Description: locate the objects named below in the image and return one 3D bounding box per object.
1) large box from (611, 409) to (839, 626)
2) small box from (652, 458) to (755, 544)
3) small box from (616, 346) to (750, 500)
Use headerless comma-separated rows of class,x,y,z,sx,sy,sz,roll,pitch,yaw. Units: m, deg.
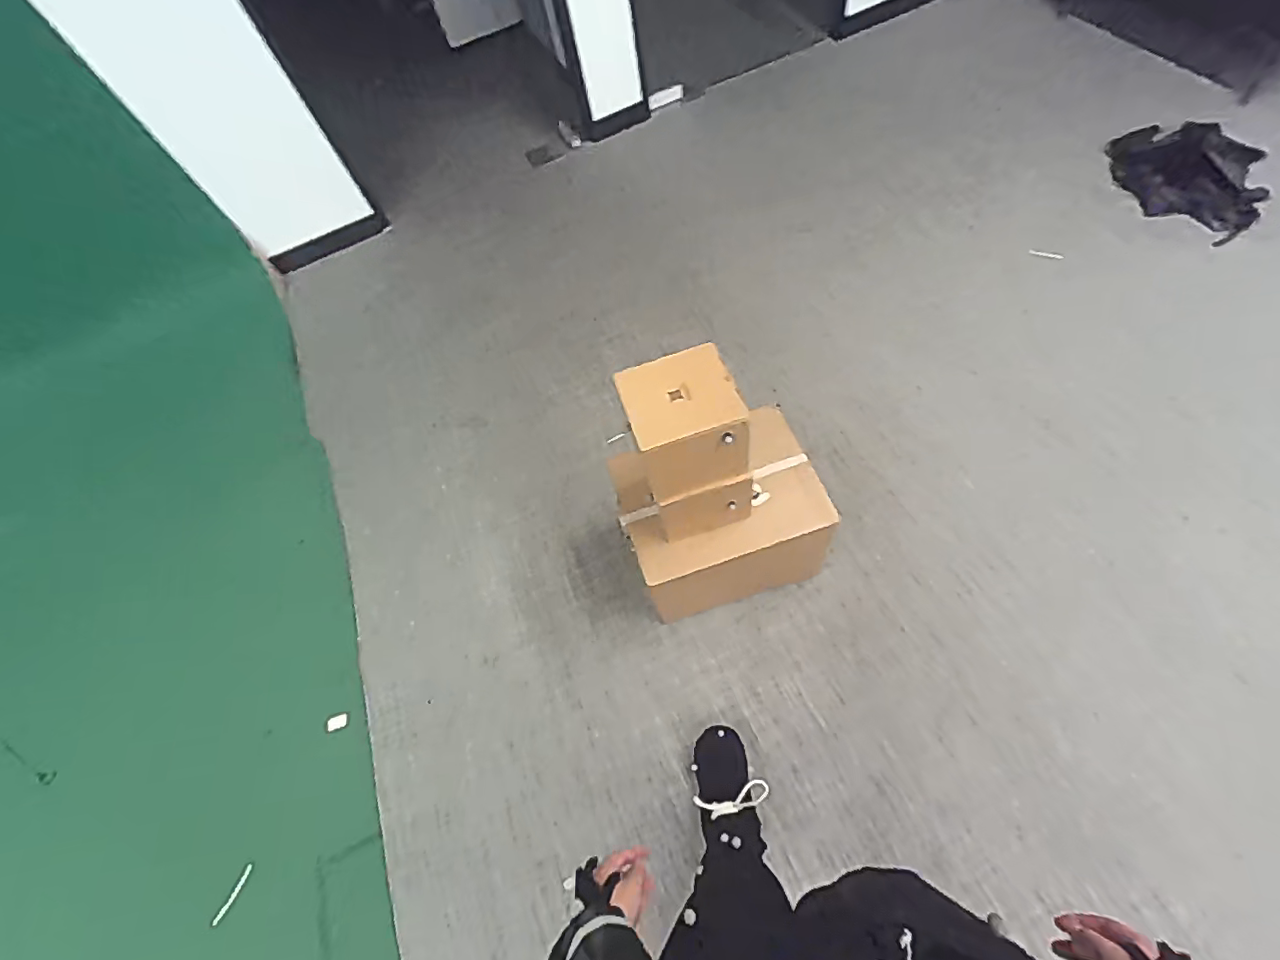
large box,0.182,0.098,1.258,0.408,0.320,0.320,-18,61,-2
small box,0.110,0.000,1.044,0.179,0.176,0.168,-19,59,0
small box,0.076,-0.088,0.912,0.179,0.176,0.168,-18,59,-2
